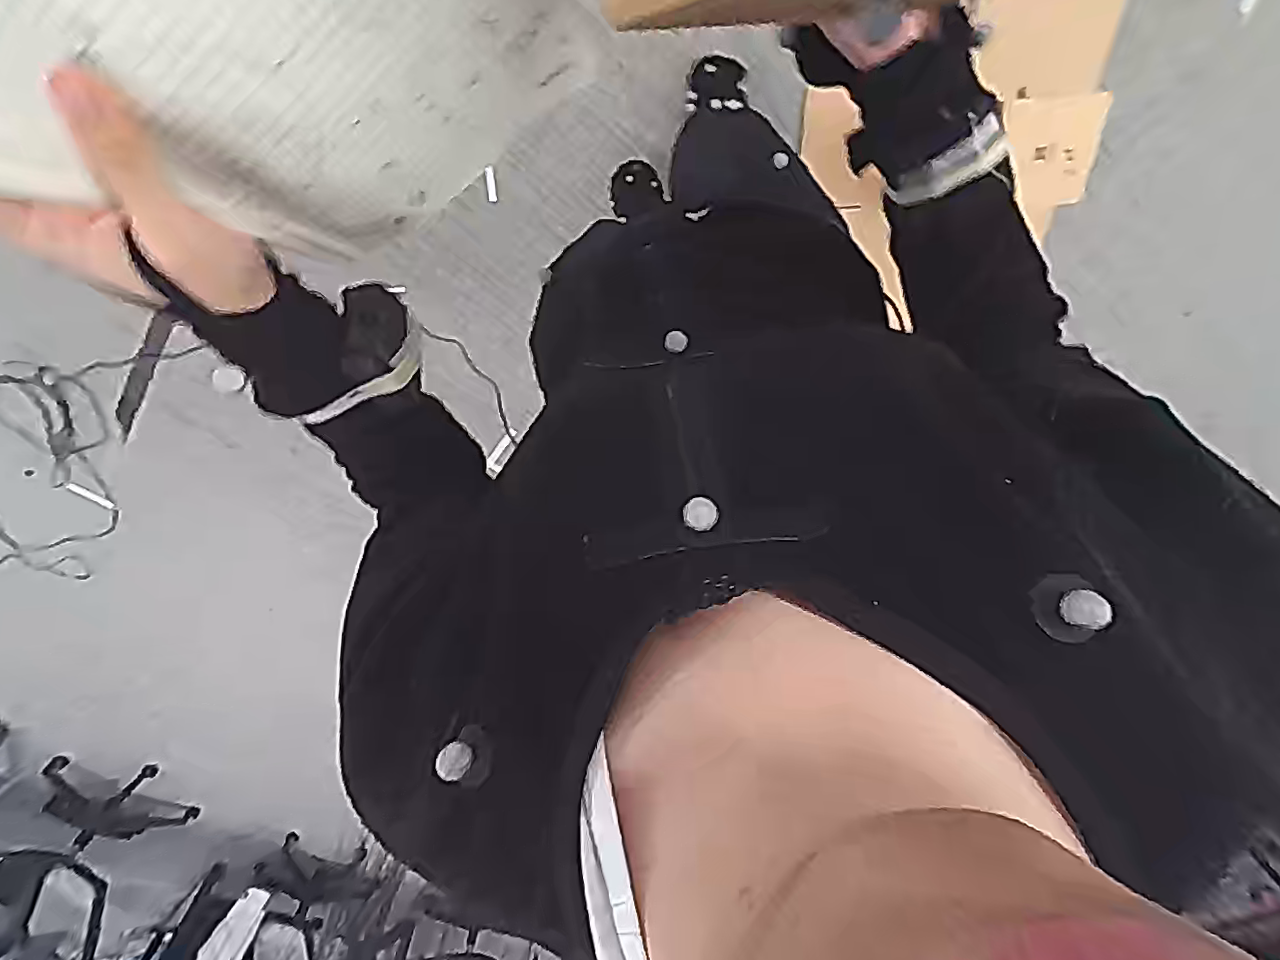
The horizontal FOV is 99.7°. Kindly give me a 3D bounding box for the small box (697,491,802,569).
[{"bbox_3d":[0.254,0.150,1.299,0.168,0.176,0.179,-40,115,22],"label":"small box"}]

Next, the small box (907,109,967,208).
[{"bbox_3d":[0.691,-0.677,1.129,0.179,0.176,0.168,-4,123,4],"label":"small box"}]

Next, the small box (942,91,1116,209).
[{"bbox_3d":[0.687,-0.598,0.984,0.179,0.176,0.168,-4,124,2],"label":"small box"}]

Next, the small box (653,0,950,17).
[{"bbox_3d":[0.085,-0.241,0.136,0.168,0.176,0.179,-19,126,-18],"label":"small box"}]

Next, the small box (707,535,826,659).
[{"bbox_3d":[0.262,0.243,1.164,0.179,0.176,0.168,39,115,-20],"label":"small box"}]
